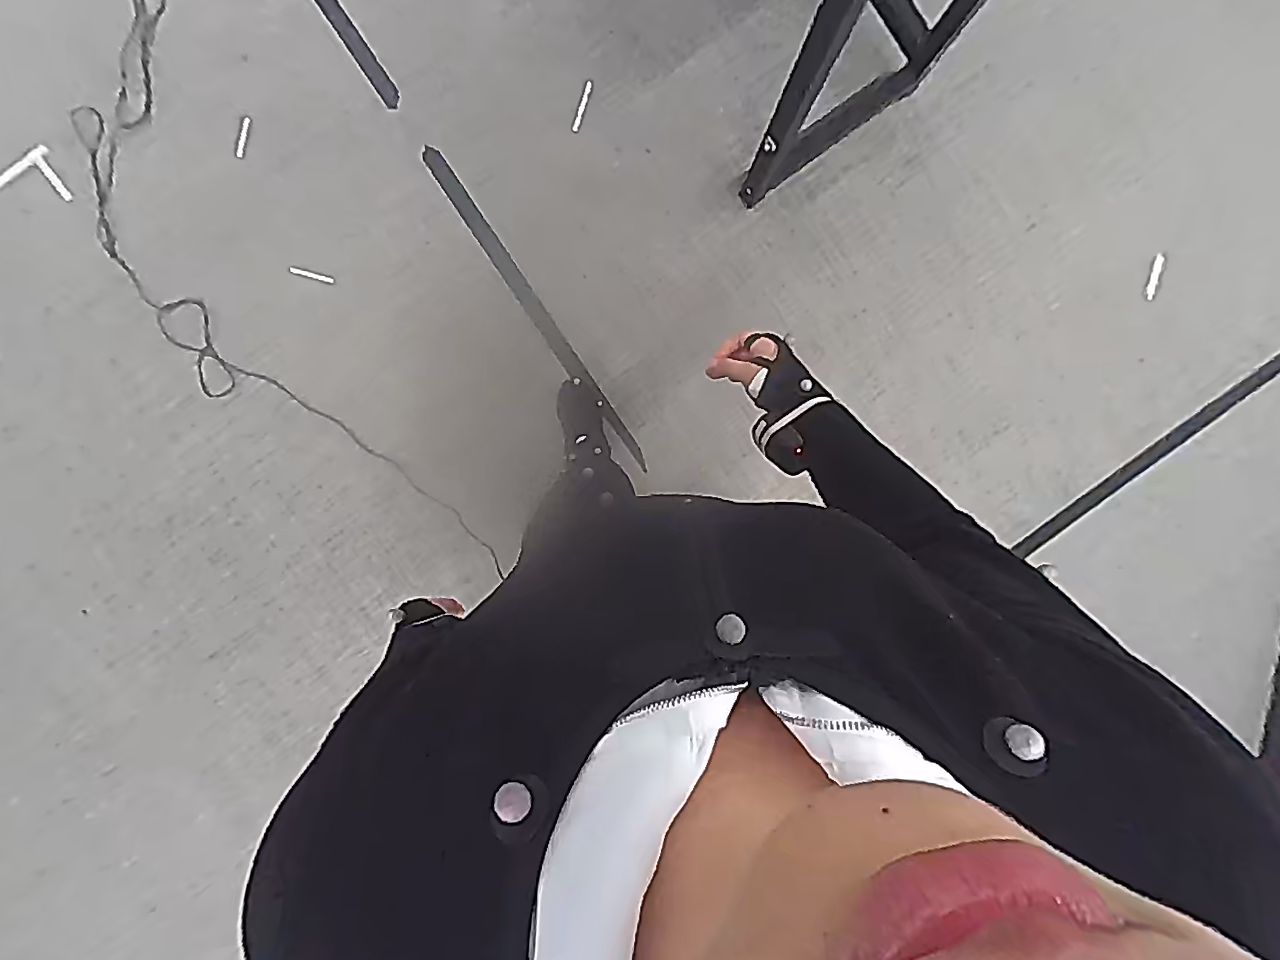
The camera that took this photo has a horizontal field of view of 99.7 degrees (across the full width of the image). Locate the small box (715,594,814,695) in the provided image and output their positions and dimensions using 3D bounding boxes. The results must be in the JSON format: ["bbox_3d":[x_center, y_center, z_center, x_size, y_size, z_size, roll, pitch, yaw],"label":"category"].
[{"bbox_3d":[0.321,0.426,1.437,0.179,0.176,0.168,-35,91,-1],"label":"small box"}]
